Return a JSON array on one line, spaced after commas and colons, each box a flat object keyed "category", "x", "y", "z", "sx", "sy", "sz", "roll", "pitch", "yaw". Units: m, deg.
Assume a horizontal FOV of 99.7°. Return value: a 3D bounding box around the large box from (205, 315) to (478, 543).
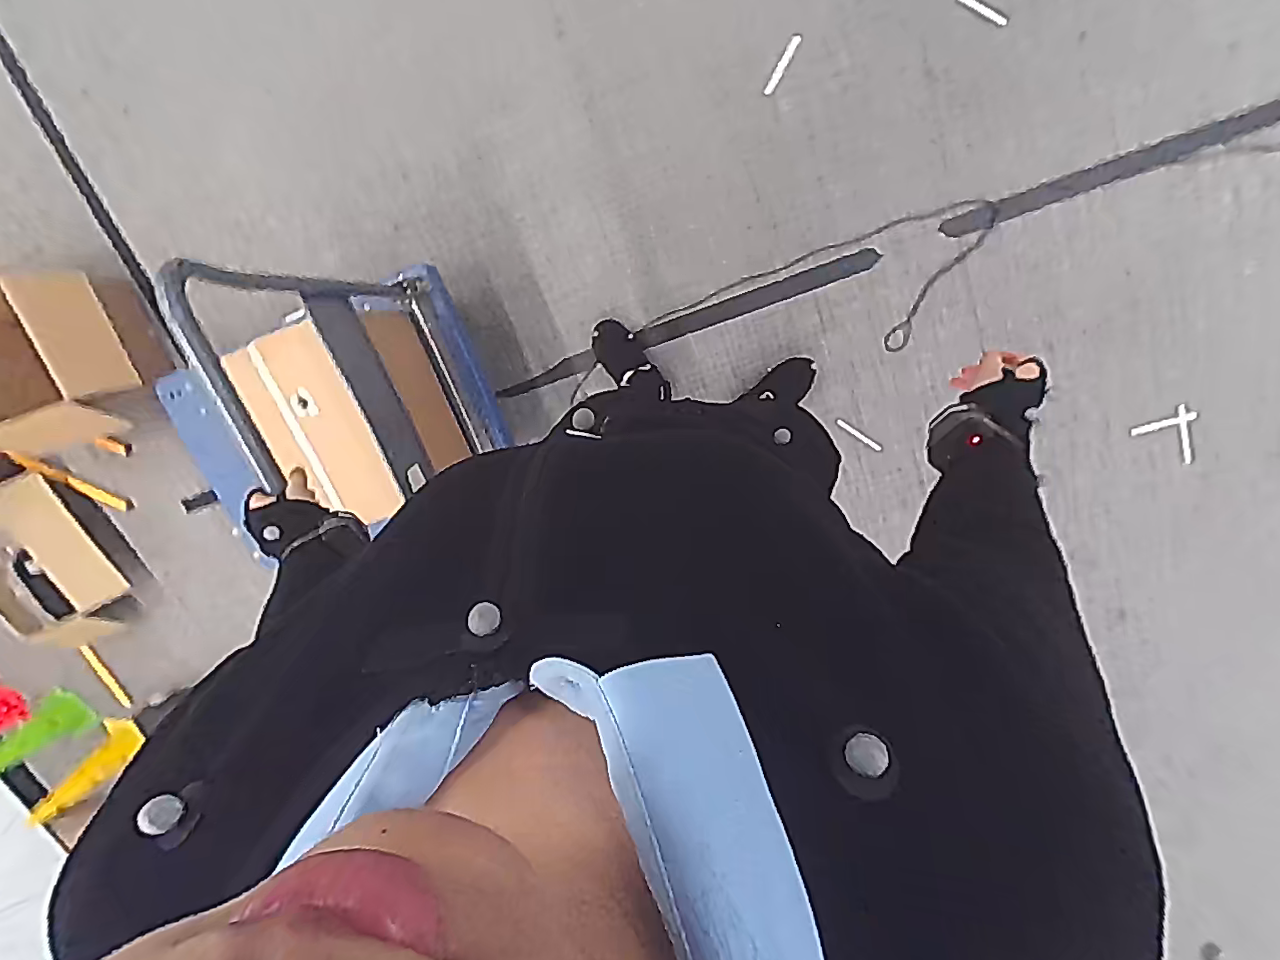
[{"category": "large box", "x": -0.640, "y": -0.127, "z": 1.231, "sx": 0.320, "sy": 0.320, "sz": 0.408, "roll": -17, "pitch": 104, "yaw": 13}]
